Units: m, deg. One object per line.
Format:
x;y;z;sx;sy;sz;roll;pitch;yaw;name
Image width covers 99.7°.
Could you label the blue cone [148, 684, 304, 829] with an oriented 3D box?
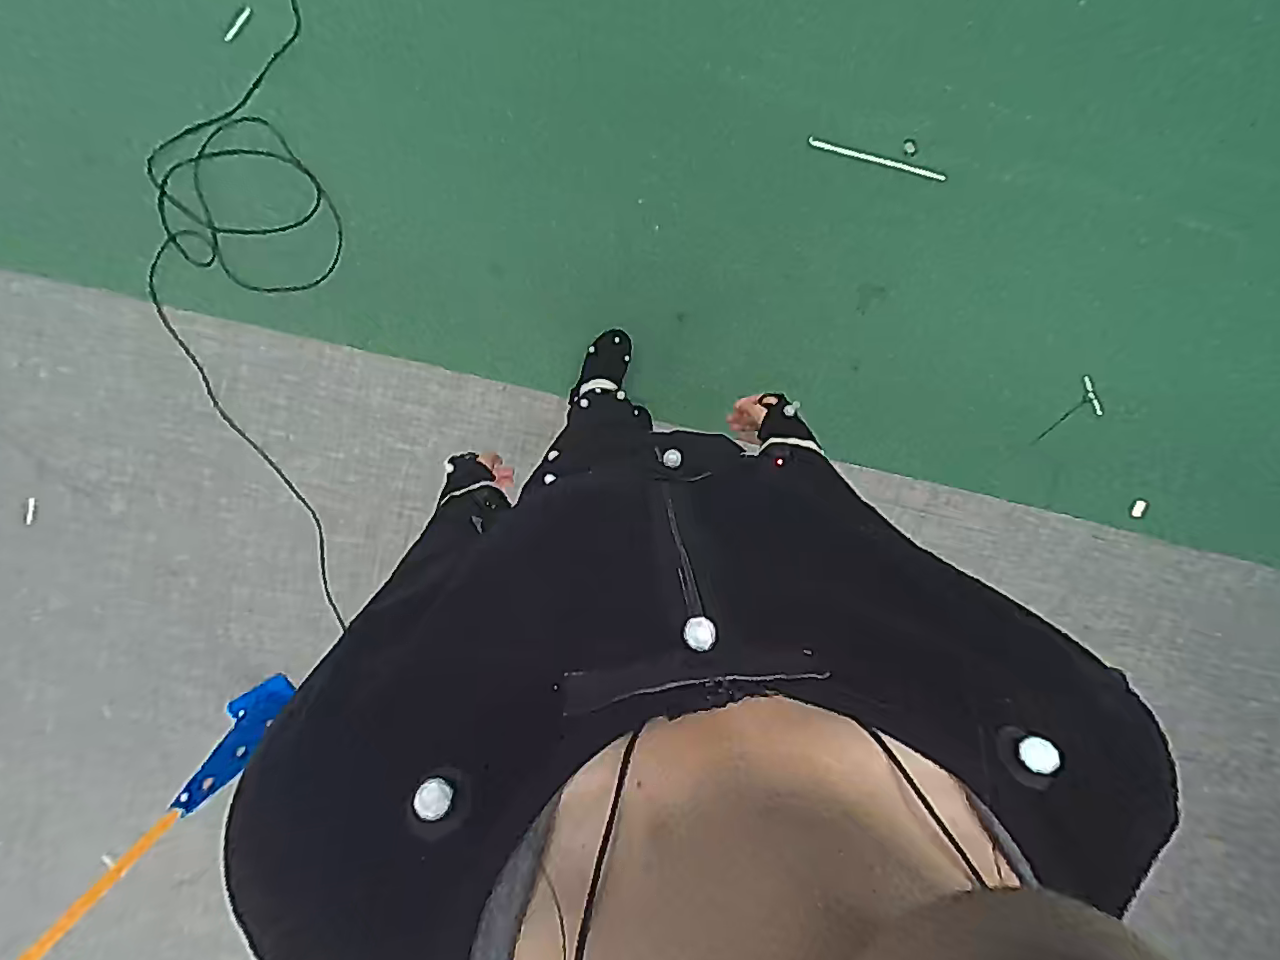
-1.060;0.719;1.364;0.193;0.380;0.192;-32;101;4;blue cone
